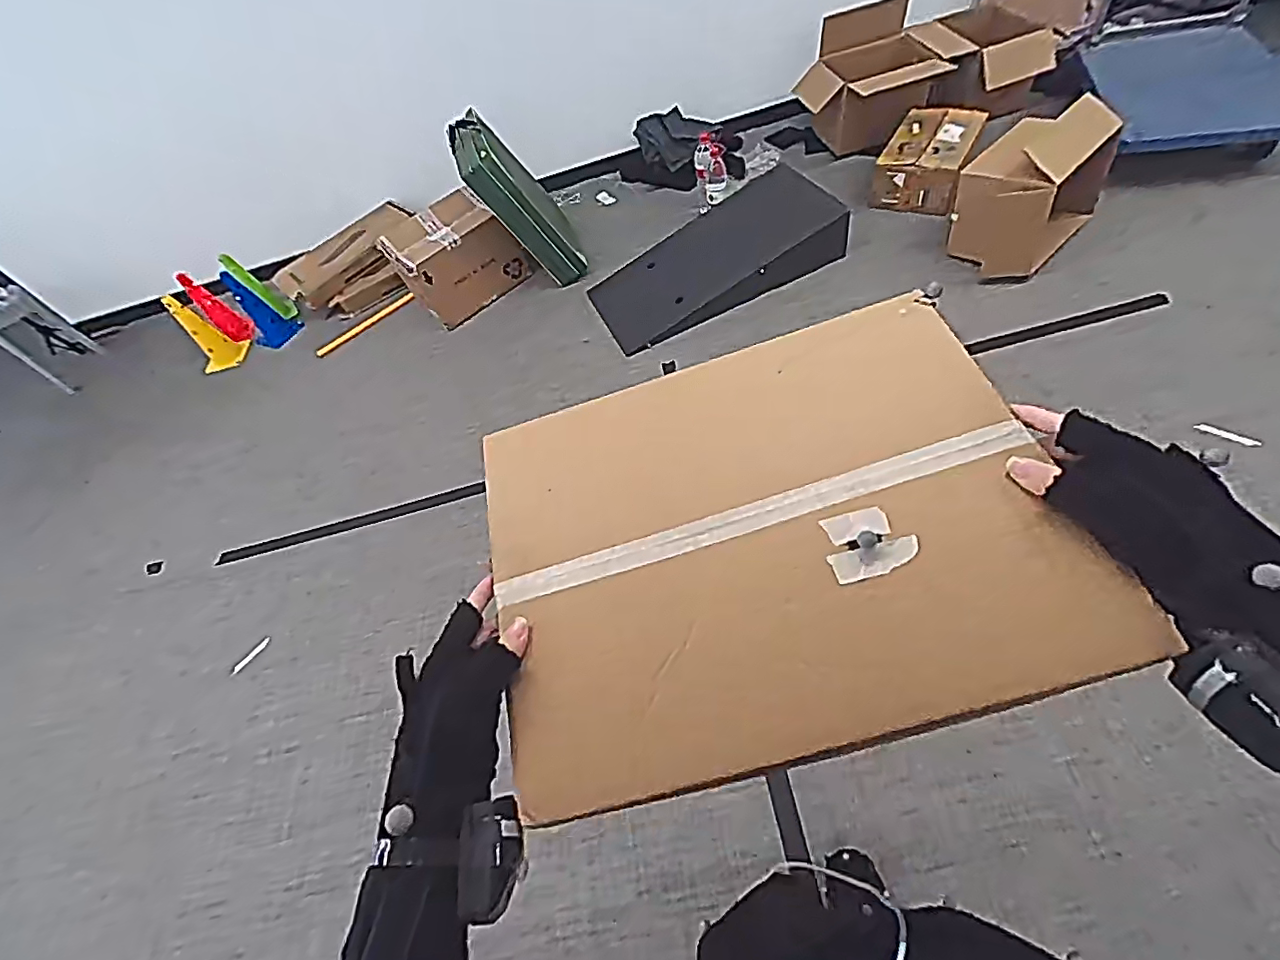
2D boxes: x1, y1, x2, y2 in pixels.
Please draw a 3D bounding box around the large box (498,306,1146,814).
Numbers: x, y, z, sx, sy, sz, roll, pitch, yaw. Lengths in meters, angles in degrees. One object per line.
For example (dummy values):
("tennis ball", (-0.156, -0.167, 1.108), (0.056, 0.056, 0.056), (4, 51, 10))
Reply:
("large box", (0.119, 0.102, 0.543), (0.408, 0.320, 0.320), (-18, 60, 4))
